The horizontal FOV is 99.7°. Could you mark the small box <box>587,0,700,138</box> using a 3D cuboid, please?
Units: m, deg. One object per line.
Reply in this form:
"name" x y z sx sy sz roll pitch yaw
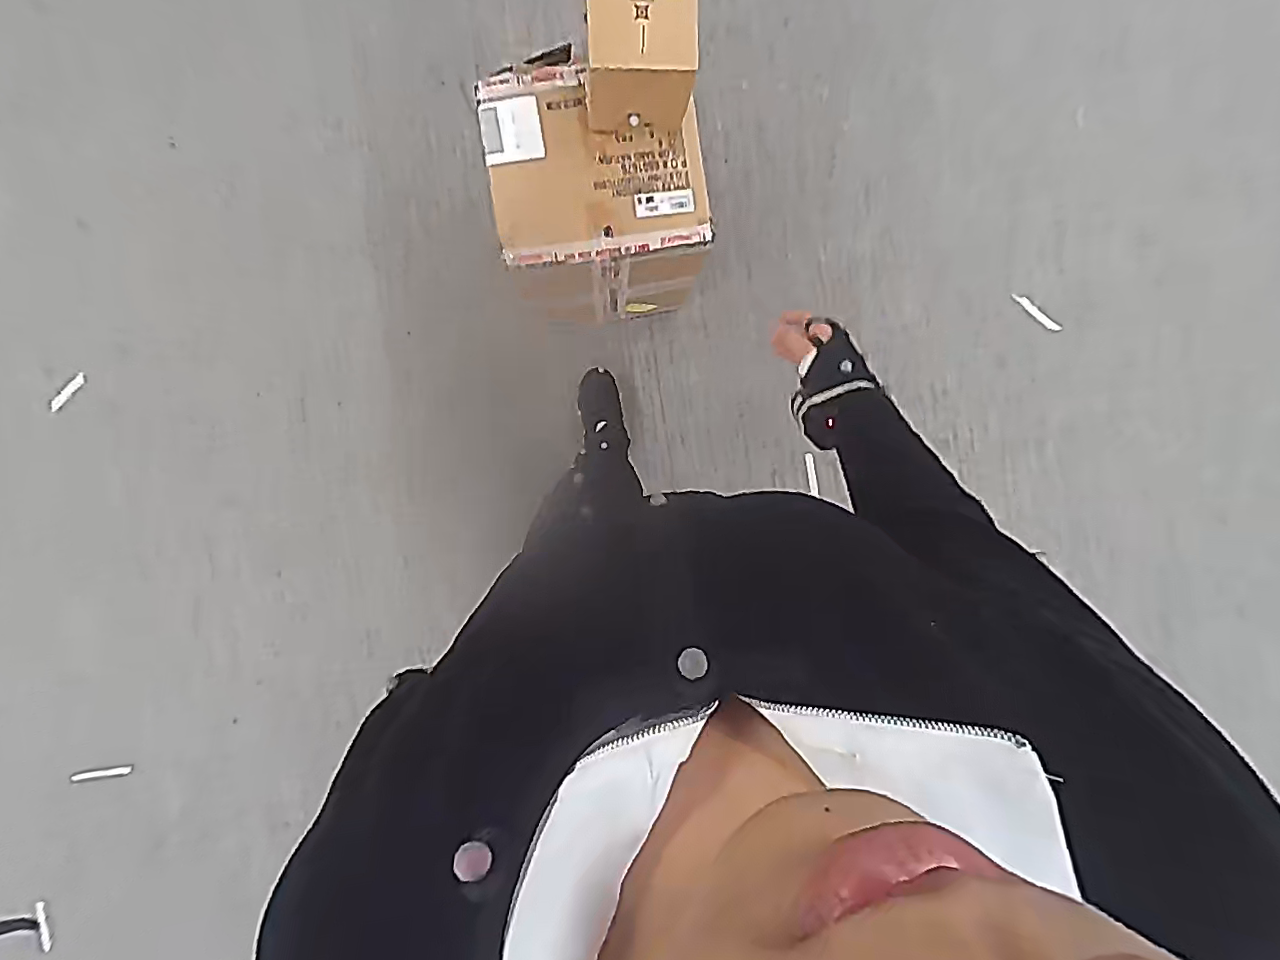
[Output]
"small box" -0.001 -0.689 0.871 0.168 0.176 0.179 -2 95 -5
